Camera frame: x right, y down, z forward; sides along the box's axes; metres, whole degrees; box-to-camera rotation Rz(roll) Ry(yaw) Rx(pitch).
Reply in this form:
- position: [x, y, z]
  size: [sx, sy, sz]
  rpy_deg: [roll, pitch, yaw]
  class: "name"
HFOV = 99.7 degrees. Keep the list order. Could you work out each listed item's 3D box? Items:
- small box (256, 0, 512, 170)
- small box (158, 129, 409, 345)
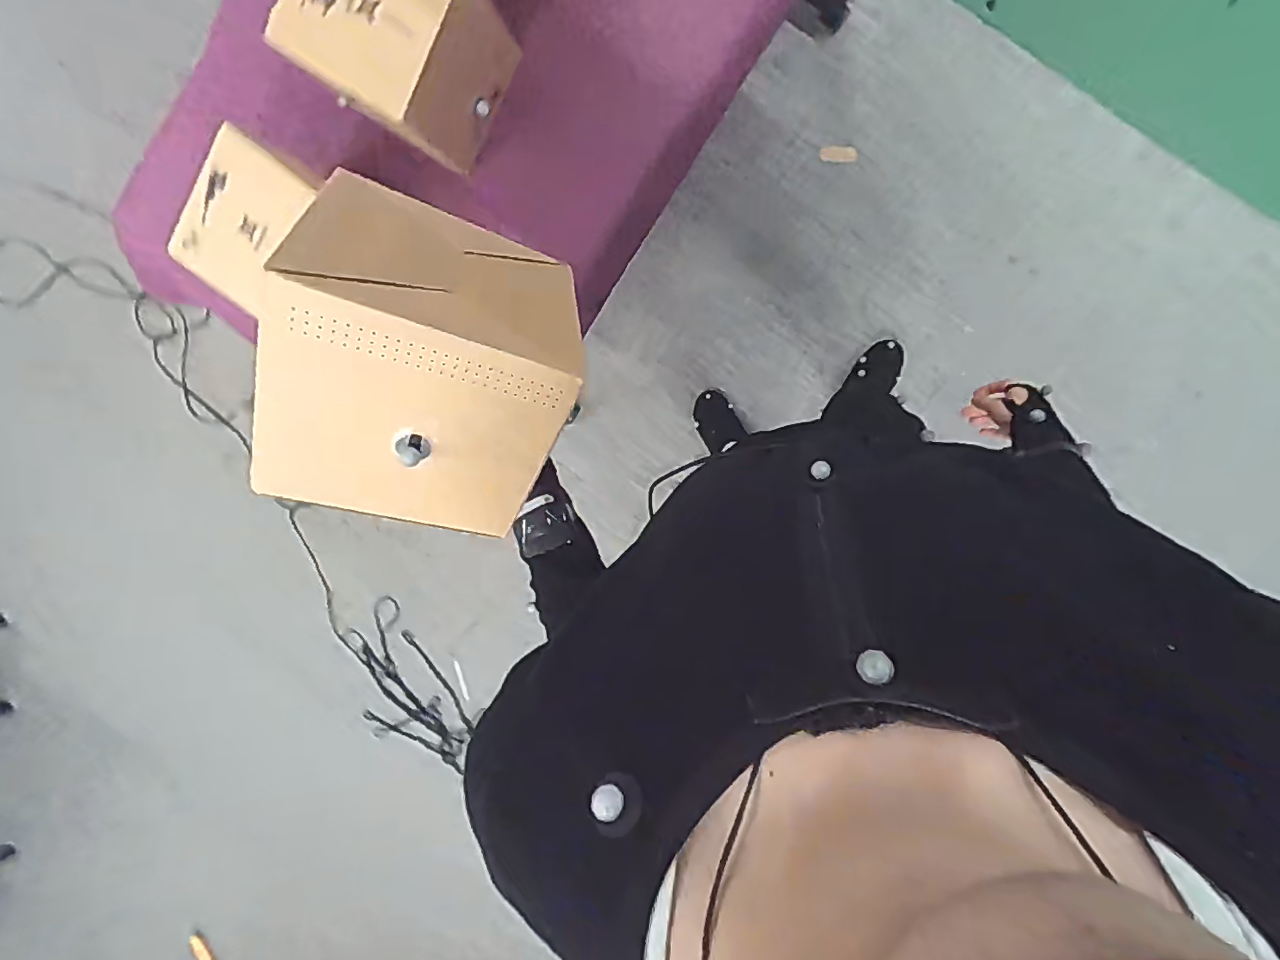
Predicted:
- position: [-0.281, -0.501, 0.629]
  size: [0.179, 0.176, 0.168]
  rpy_deg: [32, 103, 0]
  class: "small box"
- position: [-0.435, -0.290, 0.689]
  size: [0.179, 0.176, 0.168]
  rpy_deg: [37, 103, -1]
  class: "small box"
